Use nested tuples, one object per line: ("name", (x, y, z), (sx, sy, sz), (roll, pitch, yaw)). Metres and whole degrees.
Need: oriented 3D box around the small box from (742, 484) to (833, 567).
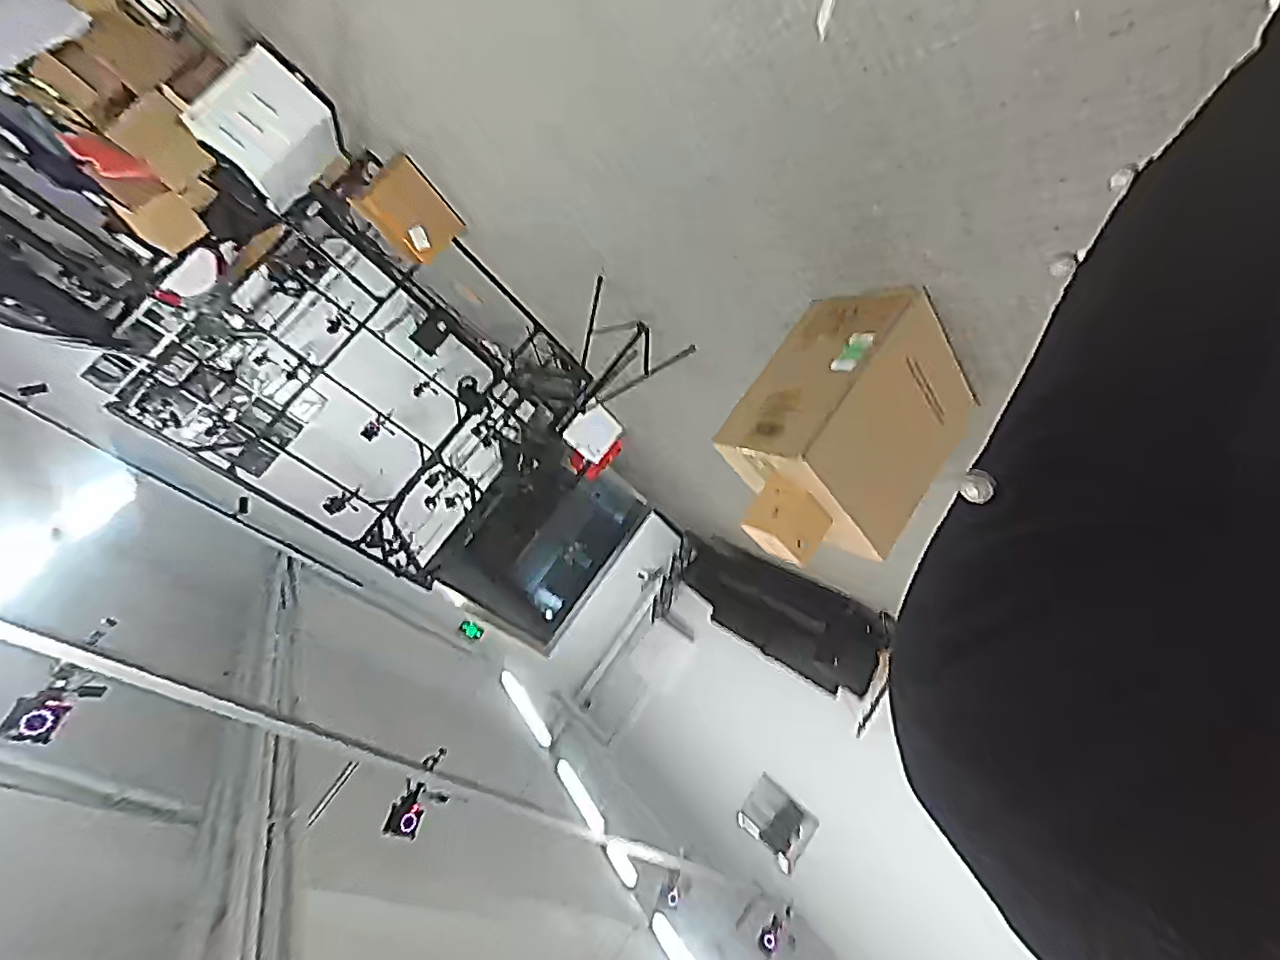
("small box", (0.451, 0.132, 1.646), (0.179, 0.176, 0.168), (42, 169, -31))
